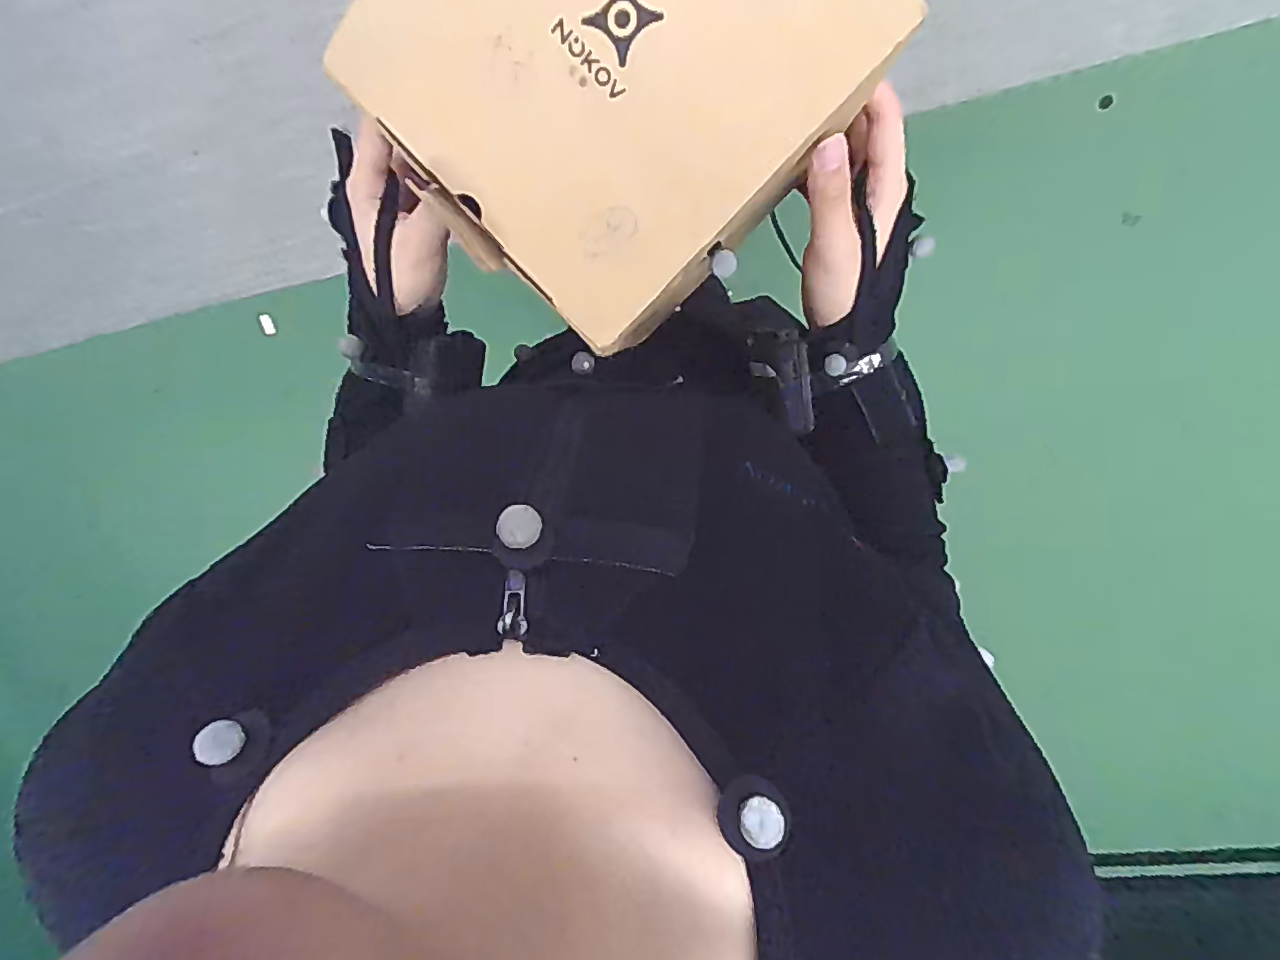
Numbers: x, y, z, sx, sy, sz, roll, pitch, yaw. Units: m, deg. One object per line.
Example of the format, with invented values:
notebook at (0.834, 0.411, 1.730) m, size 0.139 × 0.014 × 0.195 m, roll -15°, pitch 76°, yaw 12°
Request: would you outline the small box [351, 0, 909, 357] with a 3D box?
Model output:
small box at (-0.001, -0.190, 0.296) m, size 0.179 × 0.176 × 0.168 m, roll -43°, pitch 98°, yaw 16°
